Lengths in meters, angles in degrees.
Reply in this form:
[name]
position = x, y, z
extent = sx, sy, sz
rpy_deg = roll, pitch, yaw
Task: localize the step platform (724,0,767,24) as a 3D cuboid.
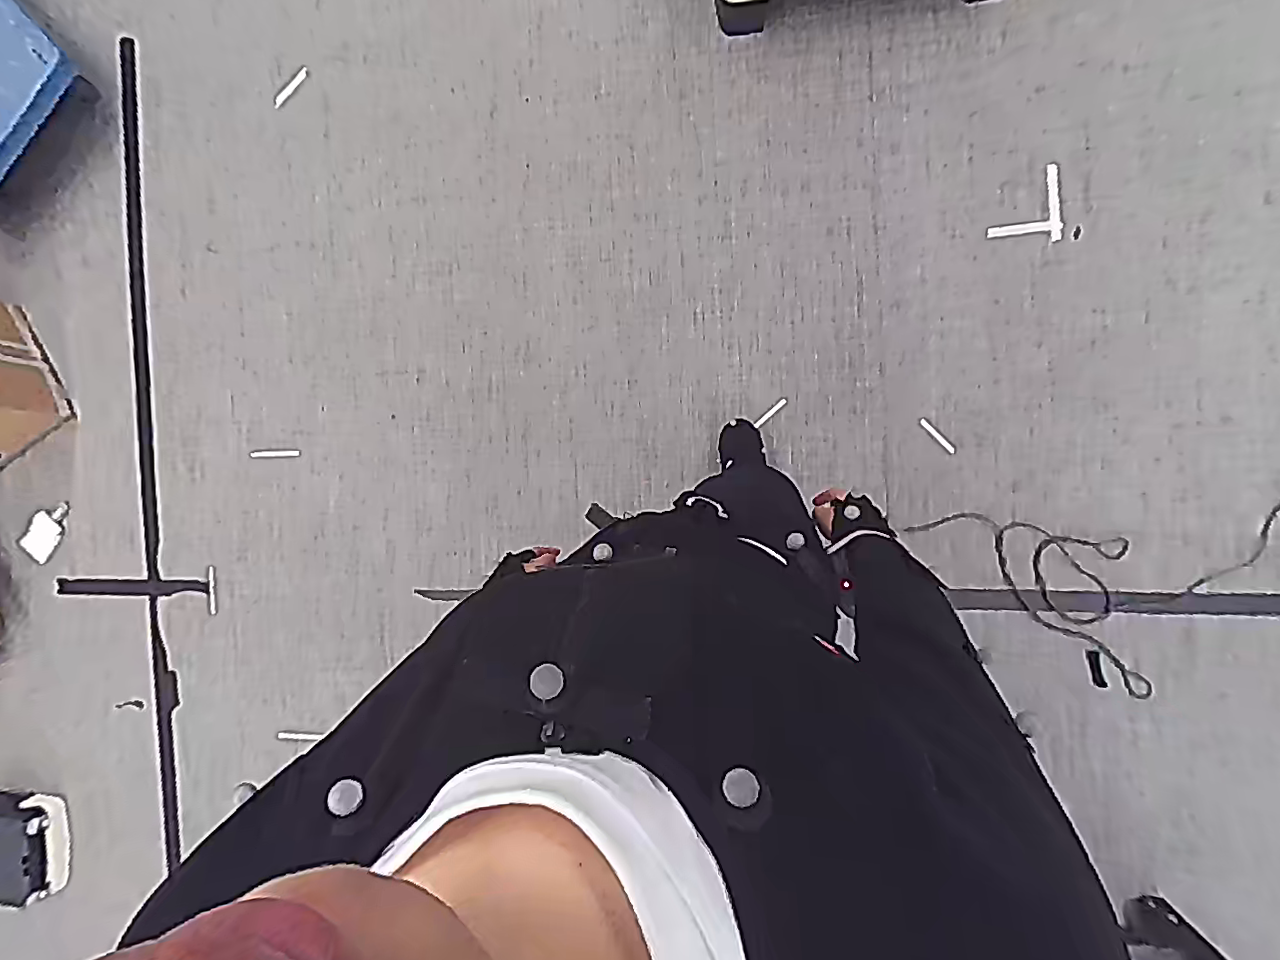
[step platform]
position = 0.520, -1.259, 1.186
extent = 0.684, 0.204, 0.286
rpy_deg = -2, 90, 9
